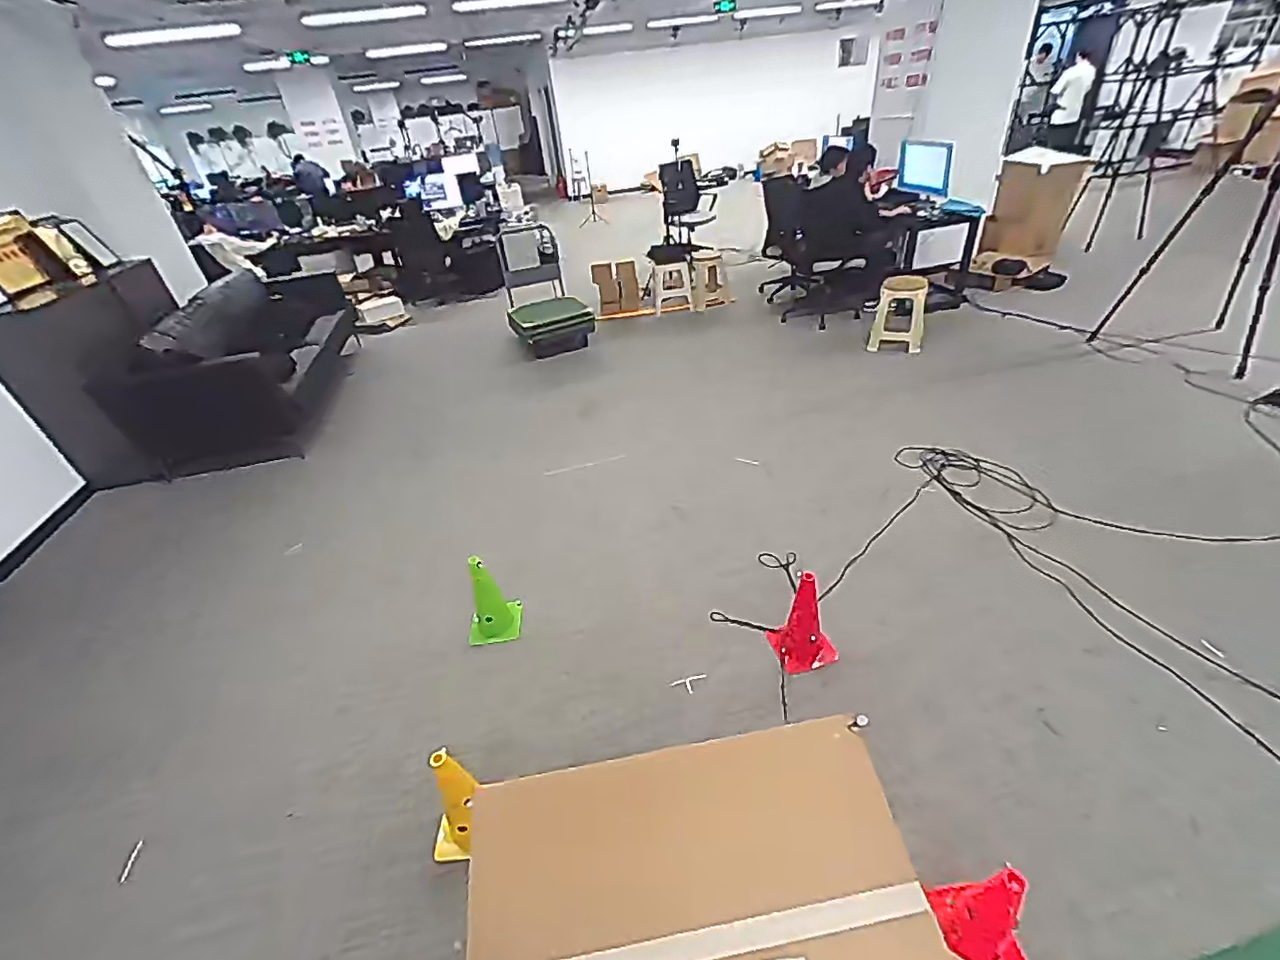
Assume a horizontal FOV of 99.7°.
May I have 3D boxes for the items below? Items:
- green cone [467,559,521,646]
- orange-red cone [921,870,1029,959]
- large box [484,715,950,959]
[{"bbox_3d":[-0.605,0.446,2.099,0.200,0.368,0.202,-9,36,-2],"label":"green cone"},{"bbox_3d":[0.762,0.928,1.166,0.199,0.360,0.198,-7,36,-2],"label":"orange-red cone"},{"bbox_3d":[0.070,0.500,0.592,0.408,0.320,0.320,-11,52,-3],"label":"large box"}]
